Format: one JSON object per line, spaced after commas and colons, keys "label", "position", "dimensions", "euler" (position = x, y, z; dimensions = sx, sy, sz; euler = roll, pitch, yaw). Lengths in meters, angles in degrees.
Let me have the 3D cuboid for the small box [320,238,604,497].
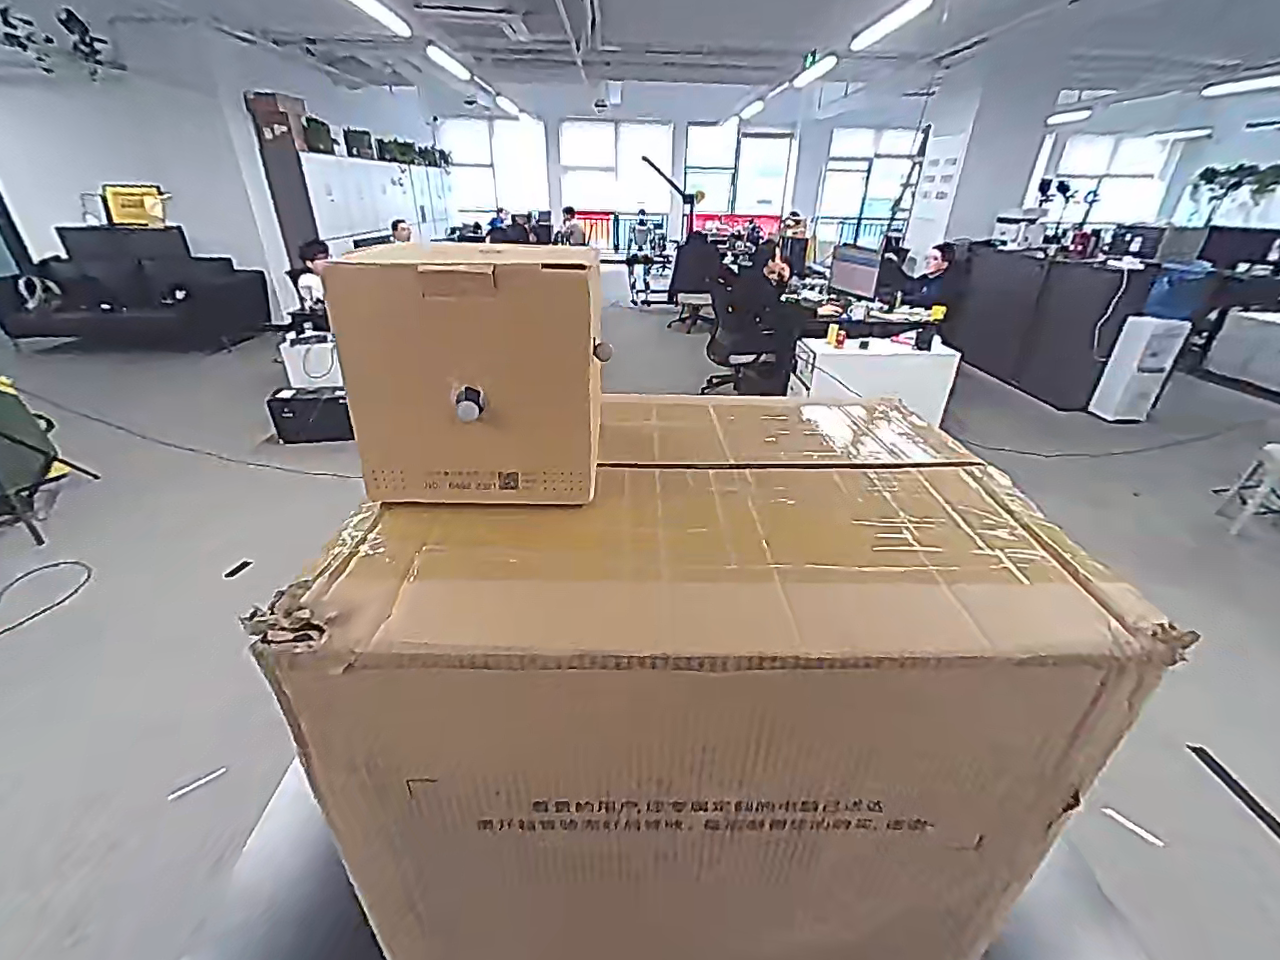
{"label": "small box", "position": [-0.114, -0.096, 0.433], "dimensions": [0.168, 0.176, 0.179], "euler": [1, 27, -3]}
